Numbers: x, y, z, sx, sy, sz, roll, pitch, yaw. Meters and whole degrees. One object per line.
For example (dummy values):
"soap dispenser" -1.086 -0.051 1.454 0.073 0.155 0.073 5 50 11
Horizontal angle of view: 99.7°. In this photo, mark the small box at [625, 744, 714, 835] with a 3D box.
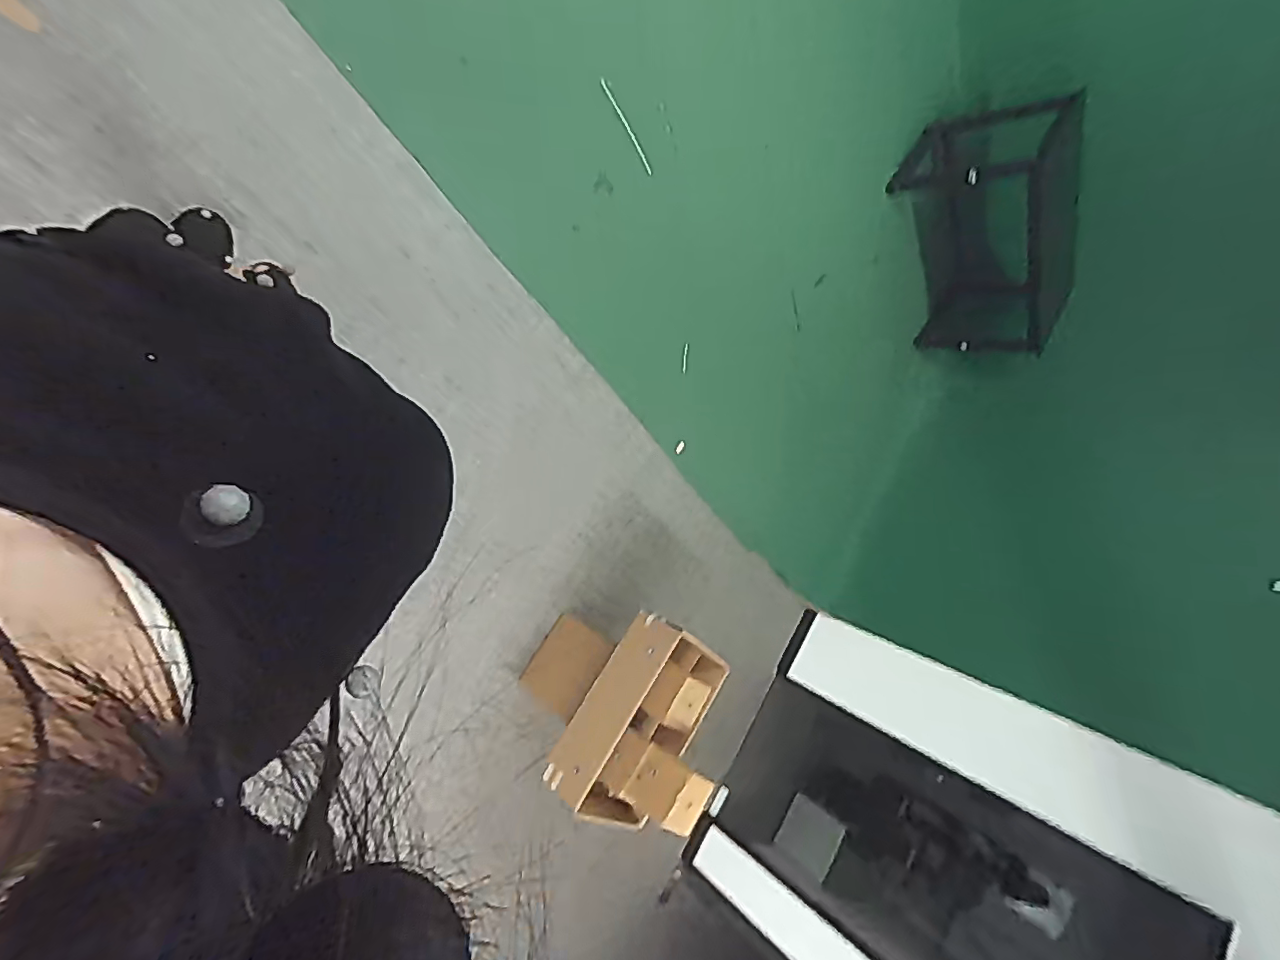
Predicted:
"small box" 0.090 0.940 1.651 0.168 0.176 0.179 -55 134 -17

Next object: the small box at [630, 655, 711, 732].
"small box" 0.102 0.713 1.818 0.179 0.176 0.168 42 74 -43
